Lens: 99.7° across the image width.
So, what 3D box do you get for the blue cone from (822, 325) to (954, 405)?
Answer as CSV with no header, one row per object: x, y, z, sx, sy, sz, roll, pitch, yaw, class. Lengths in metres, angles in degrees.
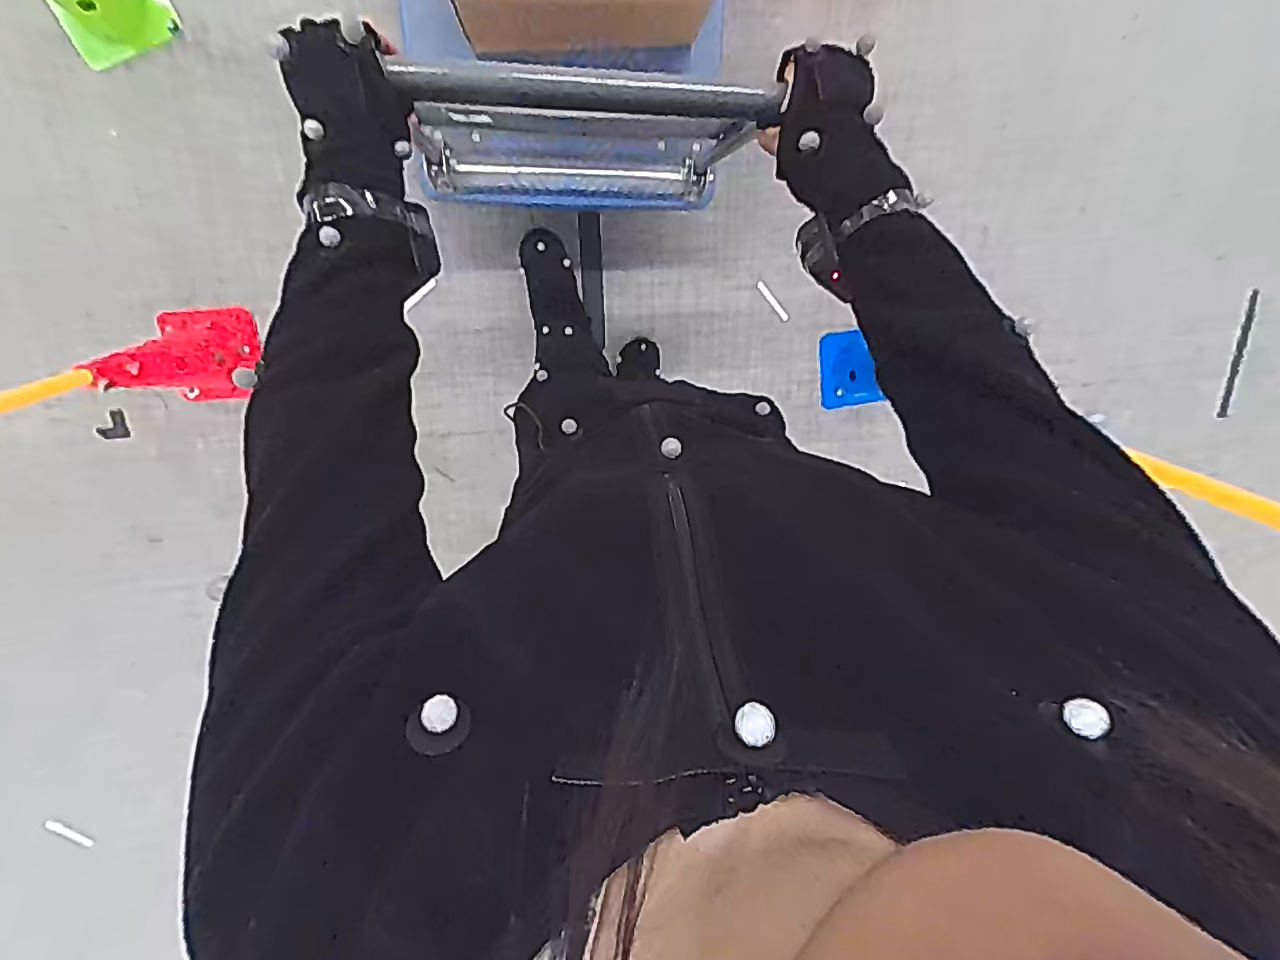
0.592,-0.250,1.260,0.193,0.380,0.192,-8,108,-5,blue cone
